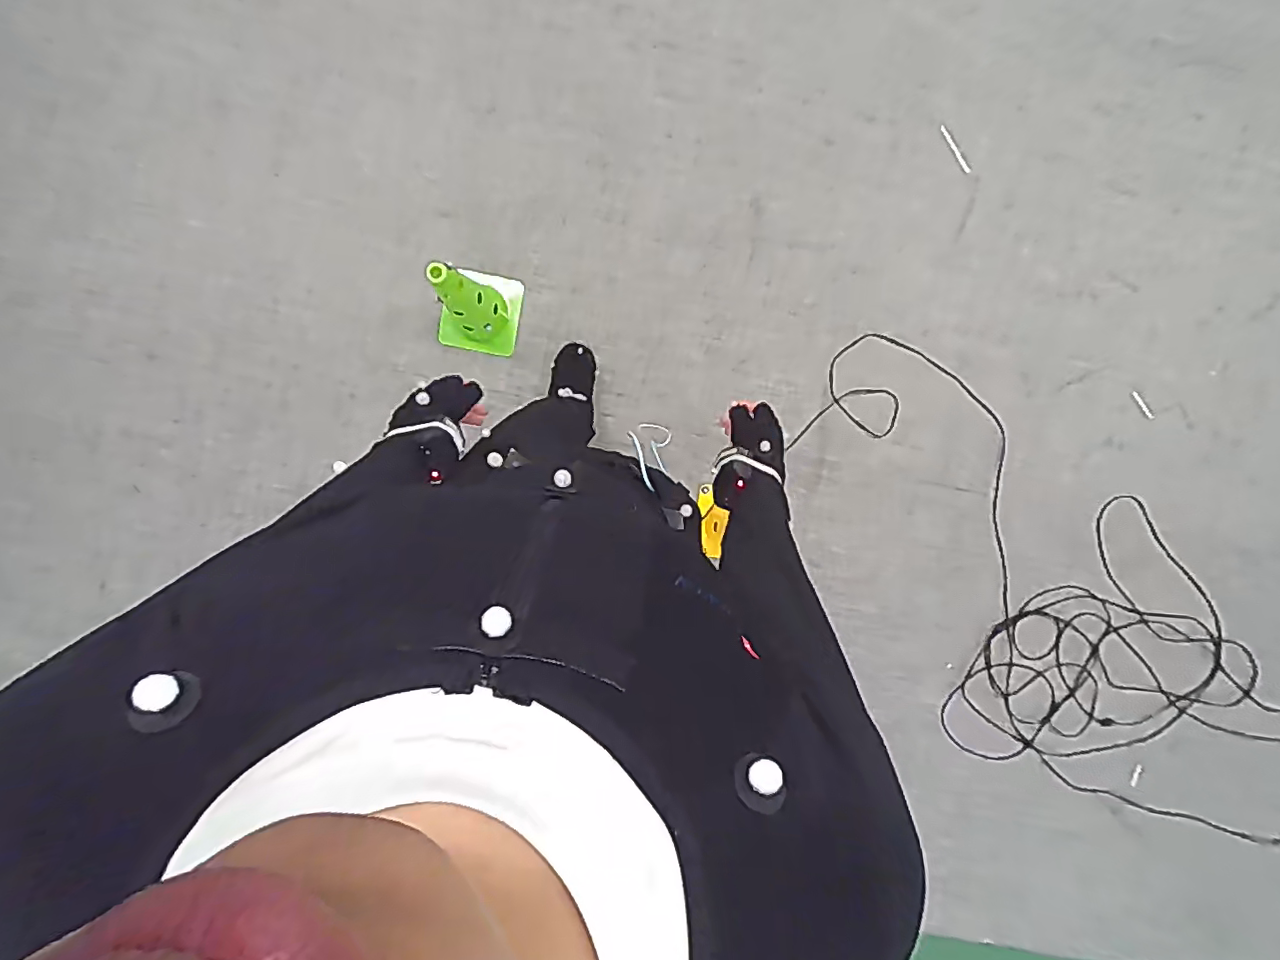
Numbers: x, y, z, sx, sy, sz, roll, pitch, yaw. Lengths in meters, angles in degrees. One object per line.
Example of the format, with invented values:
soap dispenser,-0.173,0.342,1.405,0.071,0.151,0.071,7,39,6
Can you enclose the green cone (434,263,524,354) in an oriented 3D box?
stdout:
green cone,-0.405,-0.426,1.247,0.202,0.368,0.200,10,95,-4
